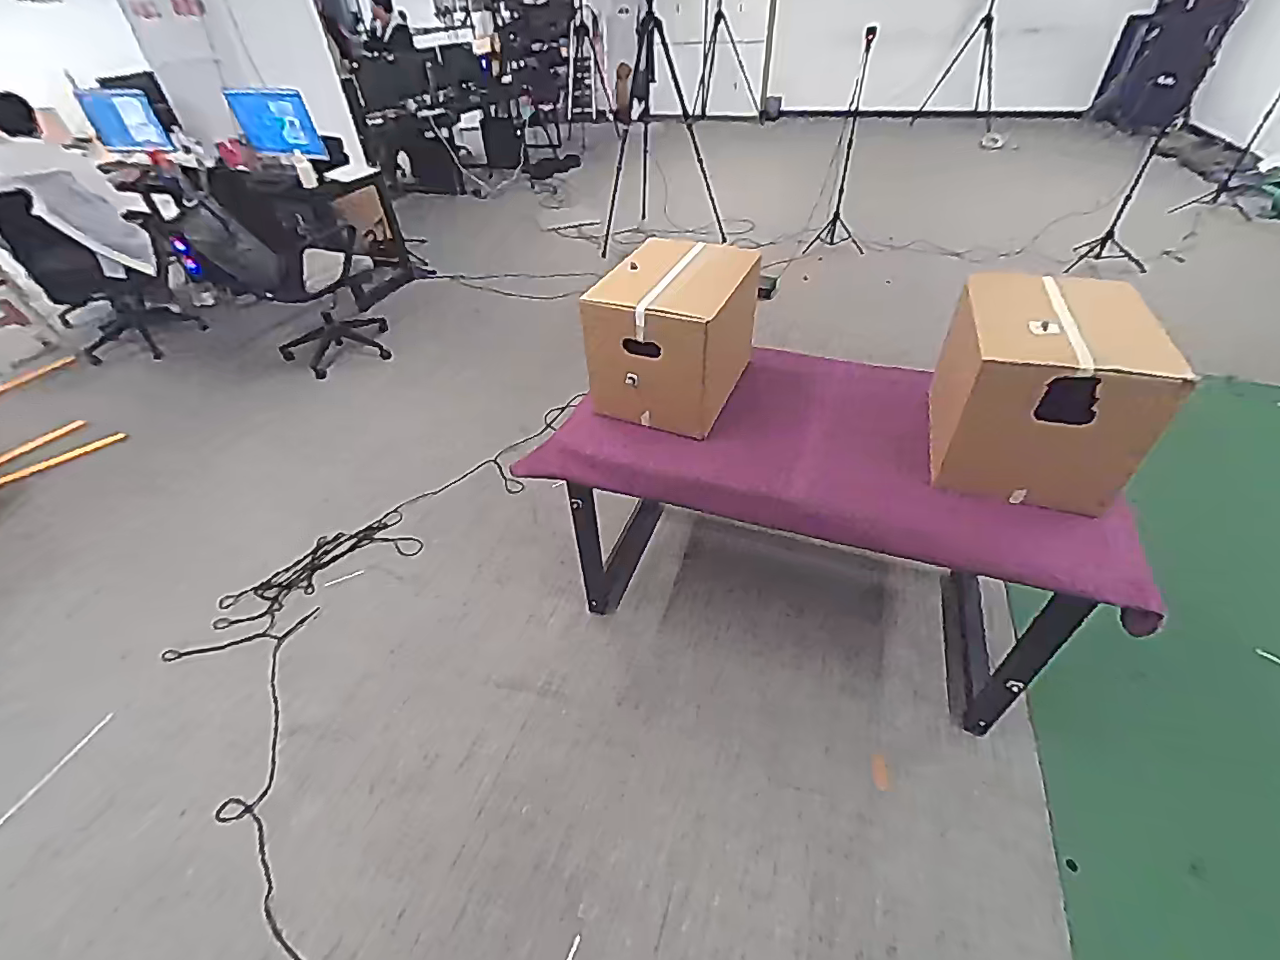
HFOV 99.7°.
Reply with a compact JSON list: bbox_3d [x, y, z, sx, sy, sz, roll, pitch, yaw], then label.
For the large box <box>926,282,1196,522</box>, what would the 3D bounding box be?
[{"bbox_3d":[0.817,-0.179,1.137,0.320,0.320,0.408,10,44,18],"label":"large box"}]
